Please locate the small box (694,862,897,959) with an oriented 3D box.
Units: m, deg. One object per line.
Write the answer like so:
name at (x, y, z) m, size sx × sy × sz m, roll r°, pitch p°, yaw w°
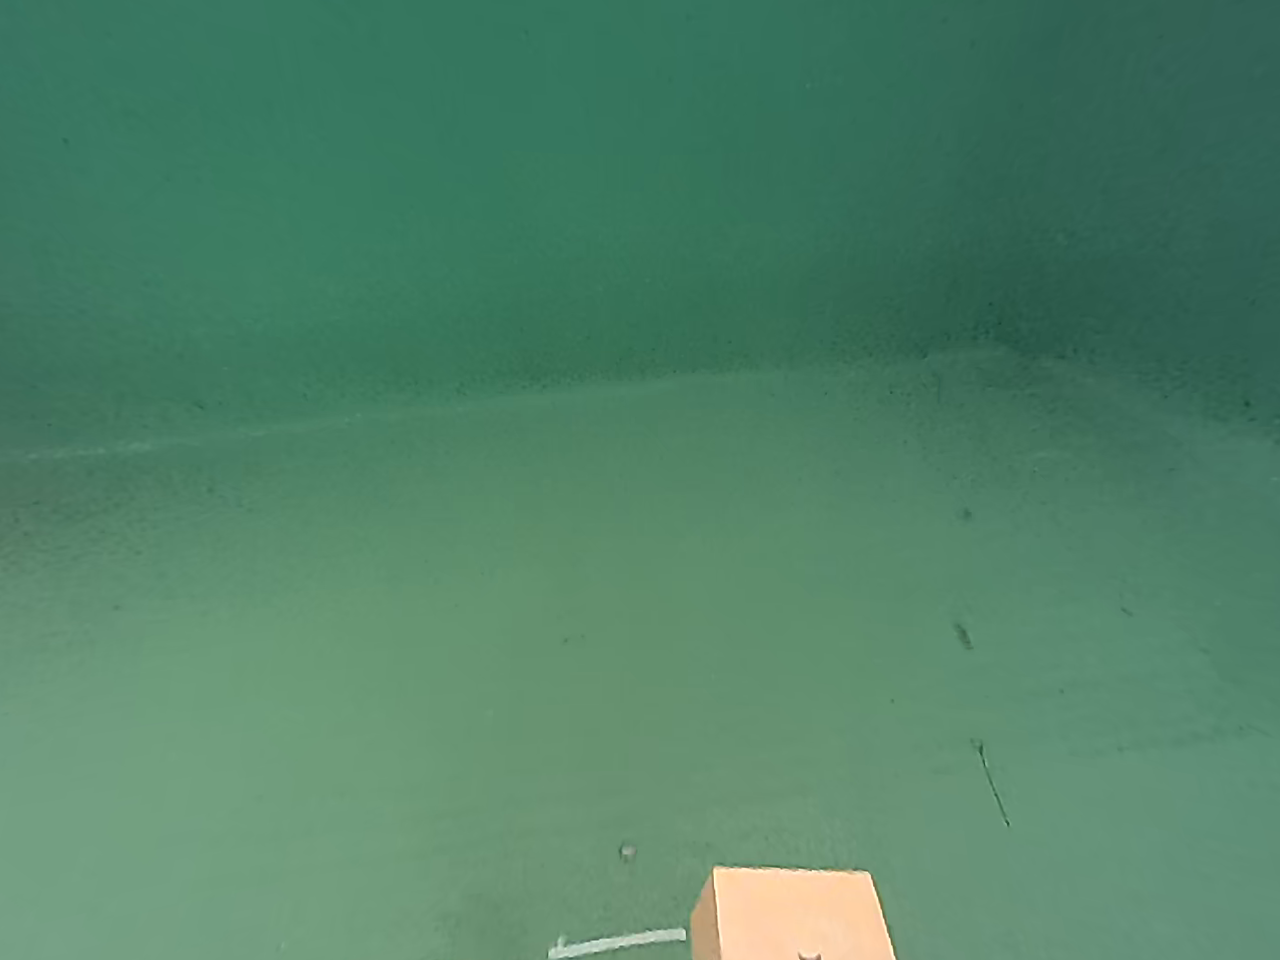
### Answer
small box at (0.147, 0.507, 0.525) m, size 0.168 × 0.176 × 0.179 m, roll 5°, pitch 38°, yaw -2°
